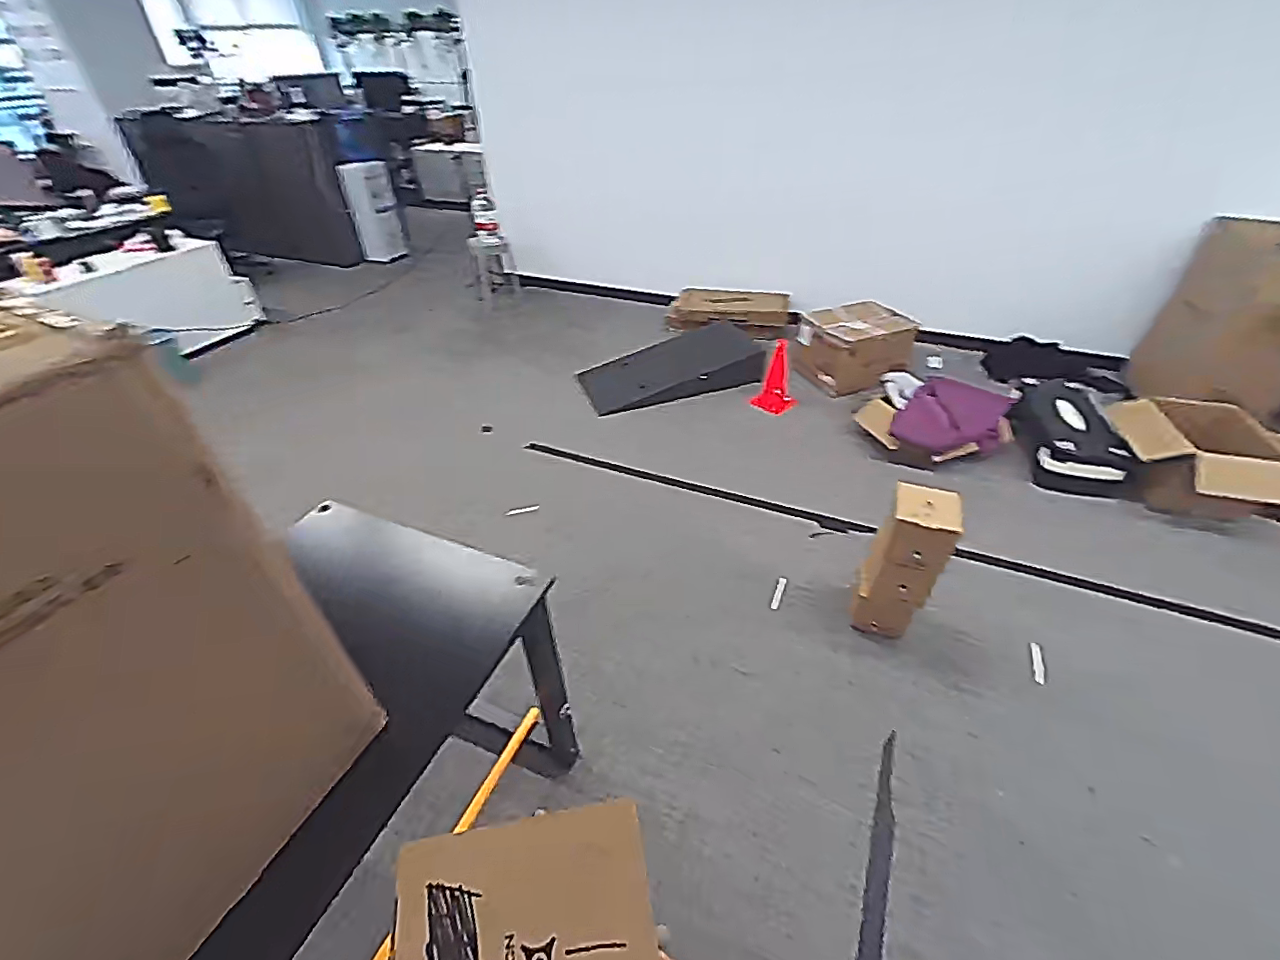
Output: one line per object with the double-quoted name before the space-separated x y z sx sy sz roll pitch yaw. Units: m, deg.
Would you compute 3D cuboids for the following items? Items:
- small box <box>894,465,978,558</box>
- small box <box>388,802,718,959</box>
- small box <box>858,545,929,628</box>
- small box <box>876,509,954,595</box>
"small box" 0.817 0.087 1.507 0.168 0.176 0.179 12 41 17
"small box" -0.045 0.323 0.339 0.179 0.176 0.168 -6 52 -9
"small box" 0.799 0.339 1.721 0.168 0.176 0.179 10 42 14
"small box" 0.812 0.216 1.611 0.168 0.176 0.179 9 41 13
